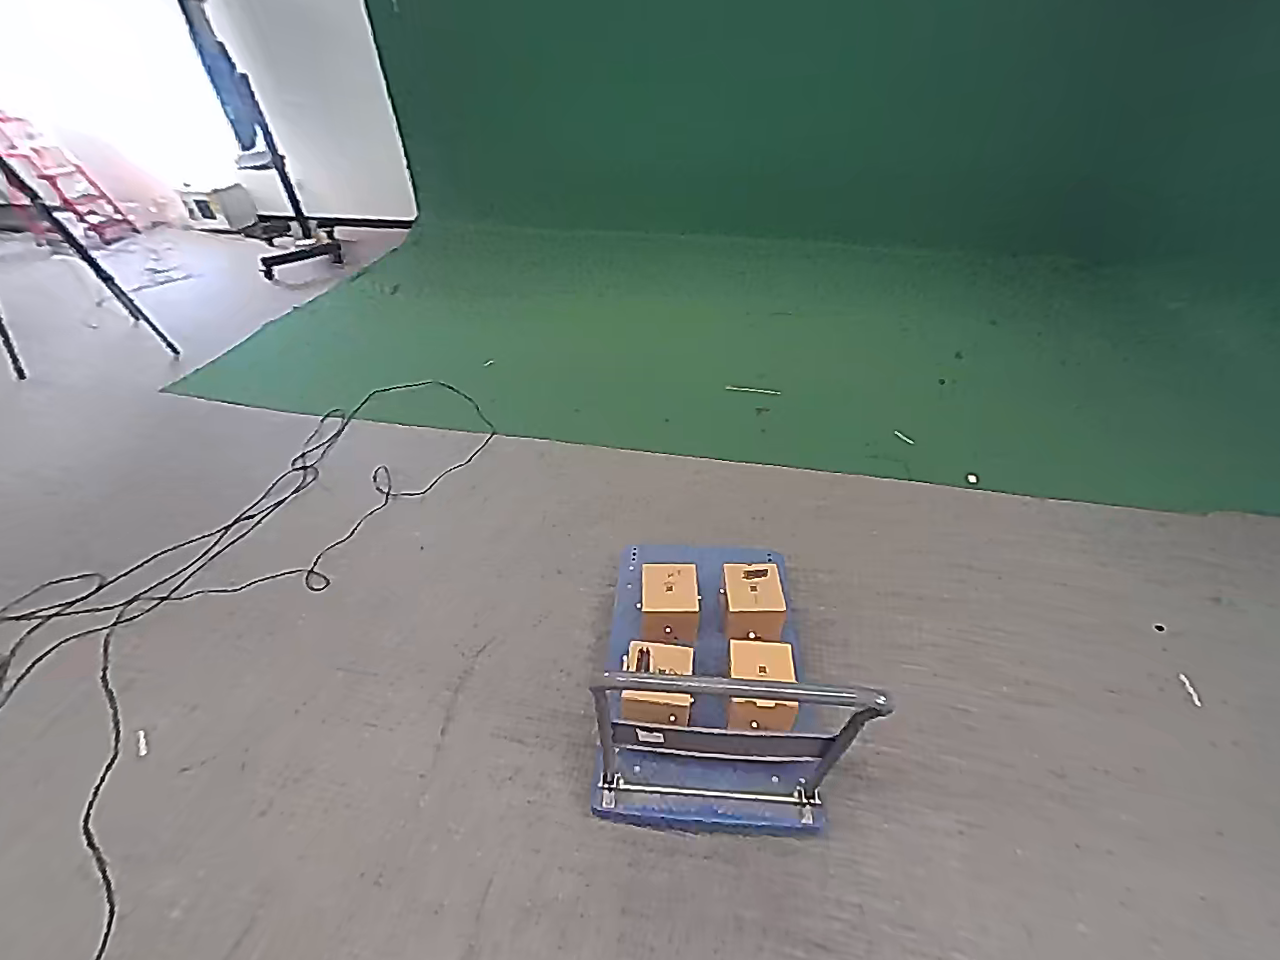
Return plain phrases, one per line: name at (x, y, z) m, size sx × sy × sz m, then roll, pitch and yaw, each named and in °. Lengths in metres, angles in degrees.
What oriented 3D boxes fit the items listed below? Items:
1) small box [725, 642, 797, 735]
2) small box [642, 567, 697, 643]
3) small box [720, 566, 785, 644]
small box at (0.323, 0.570, 1.481) m, size 0.168 × 0.176 × 0.179 m, roll 3°, pitch 42°, yaw 4°
small box at (0.090, 0.392, 1.684) m, size 0.168 × 0.176 × 0.179 m, roll 0°, pitch 42°, yaw 0°
small box at (0.341, 0.389, 1.681) m, size 0.168 × 0.176 × 0.179 m, roll -1°, pitch 43°, yaw 2°
